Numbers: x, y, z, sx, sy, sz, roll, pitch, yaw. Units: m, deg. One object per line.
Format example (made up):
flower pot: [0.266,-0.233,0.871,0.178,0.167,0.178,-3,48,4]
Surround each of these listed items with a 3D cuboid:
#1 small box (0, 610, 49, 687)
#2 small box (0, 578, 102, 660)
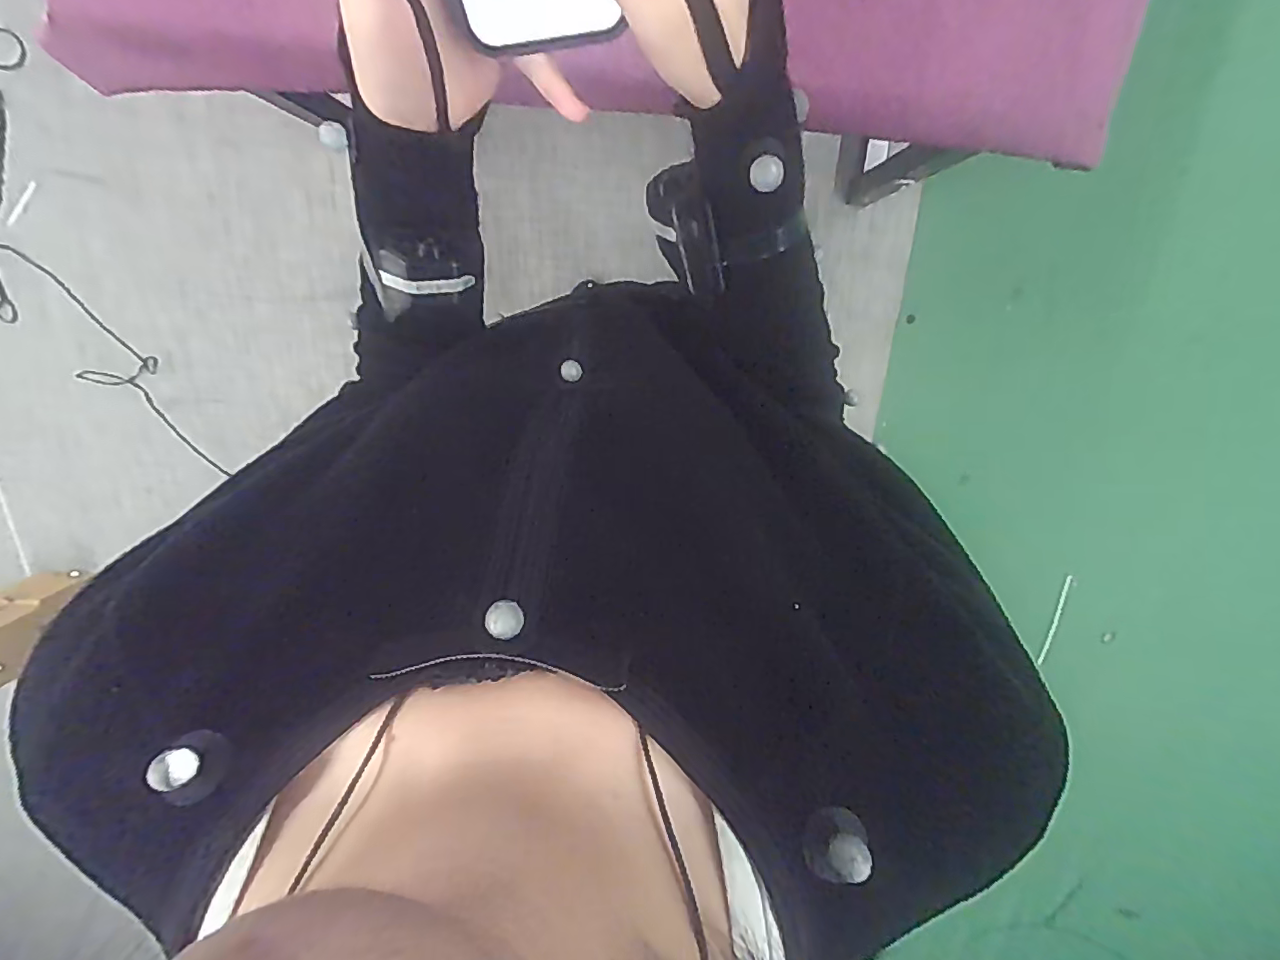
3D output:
small box: [-1.769,0.461,1.446,0.179,0.176,0.168,5,108,1]
small box: [-1.766,0.404,1.600,0.168,0.176,0.179,3,108,1]
